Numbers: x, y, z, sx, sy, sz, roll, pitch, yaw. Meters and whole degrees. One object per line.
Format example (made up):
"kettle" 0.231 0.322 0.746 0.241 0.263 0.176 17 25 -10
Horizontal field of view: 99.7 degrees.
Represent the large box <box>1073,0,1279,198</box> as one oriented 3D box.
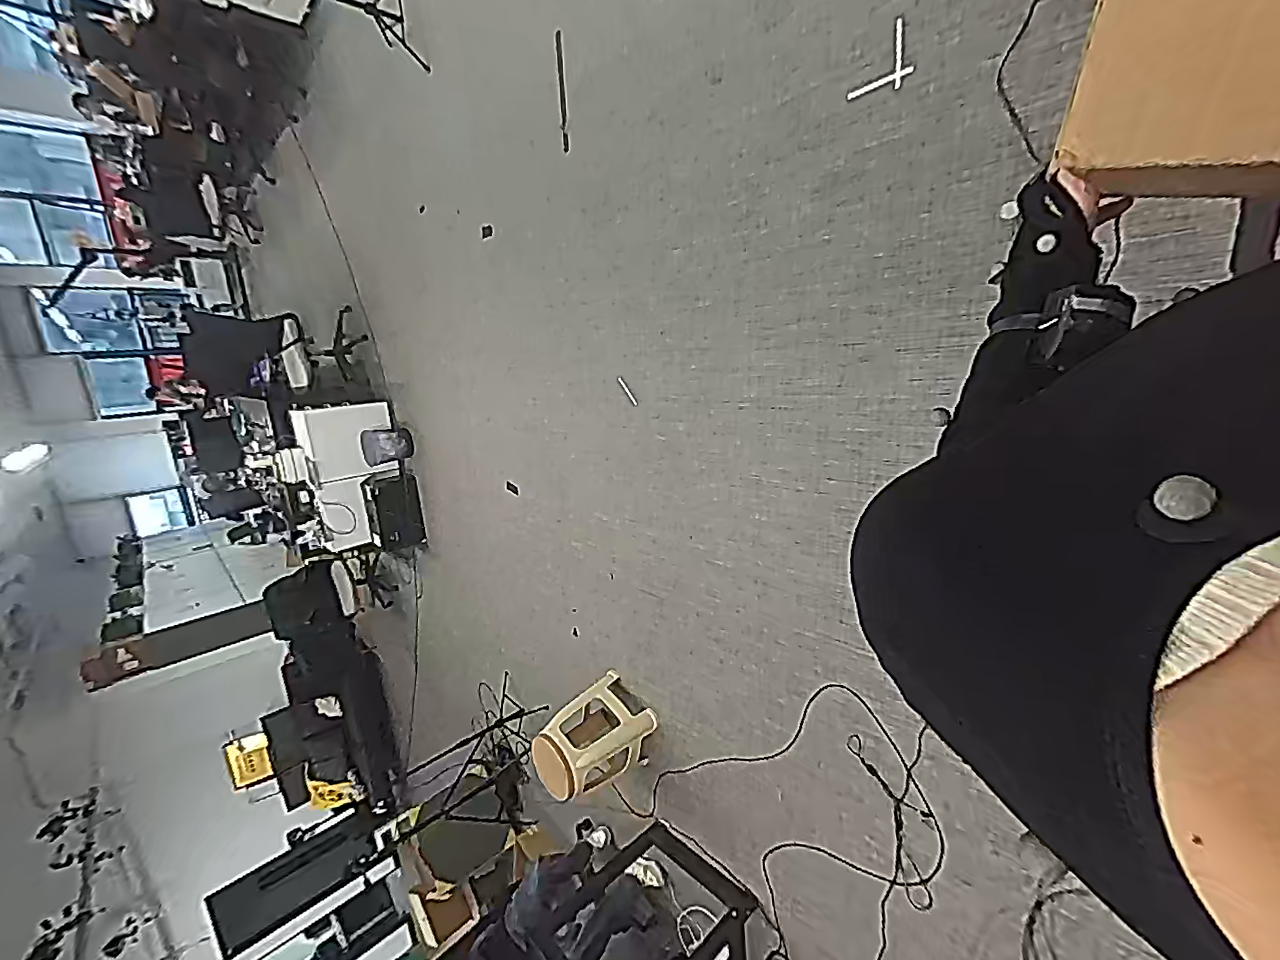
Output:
"large box" 0.453 -0.284 0.188 0.408 0.320 0.320 21 122 35
